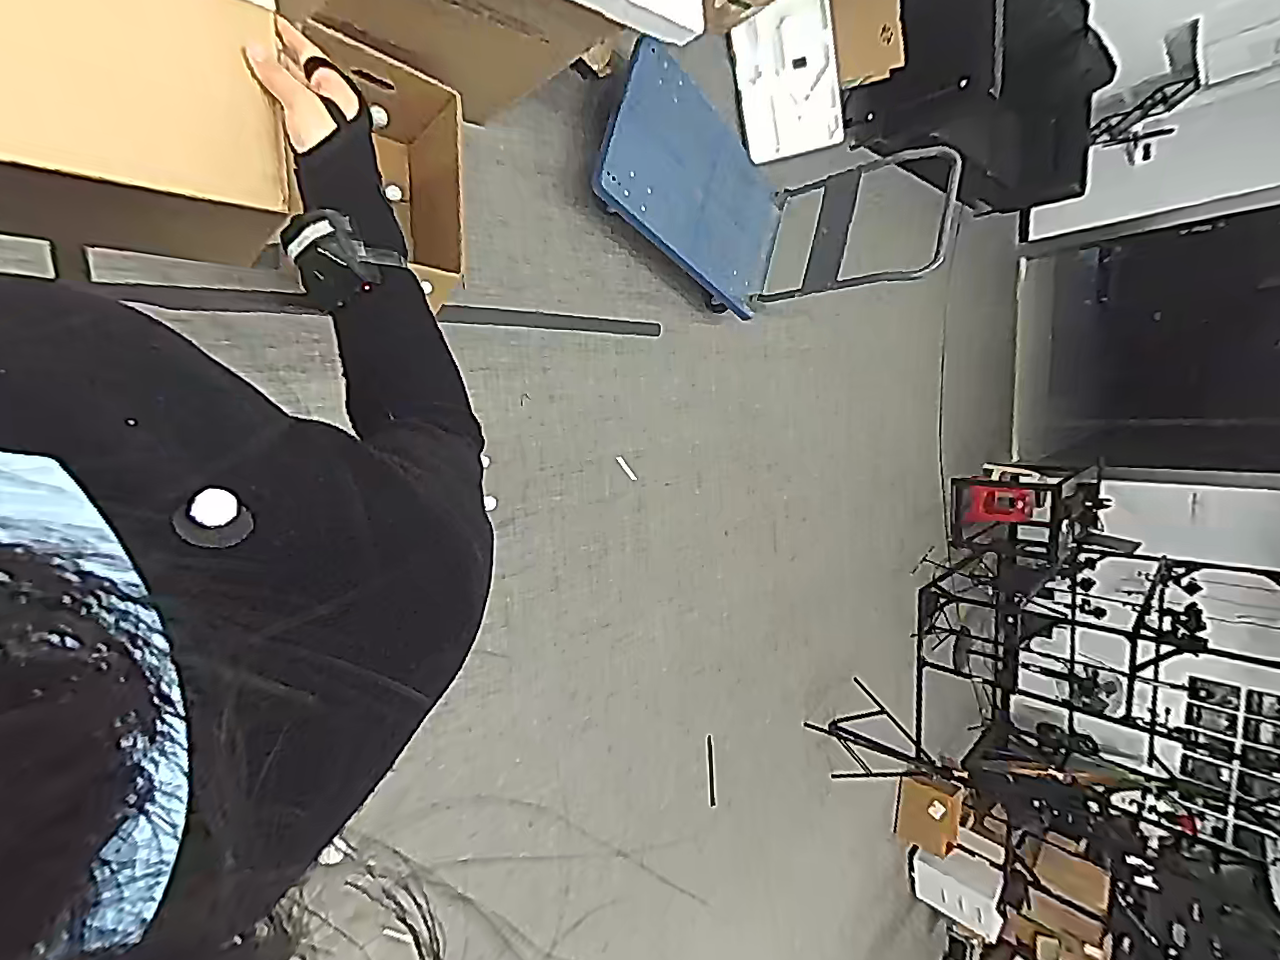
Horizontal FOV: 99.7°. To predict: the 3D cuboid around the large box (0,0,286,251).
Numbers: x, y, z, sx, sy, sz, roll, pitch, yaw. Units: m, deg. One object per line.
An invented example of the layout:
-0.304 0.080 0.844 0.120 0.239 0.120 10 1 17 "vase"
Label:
-0.545 -0.383 0.412 0.408 0.320 0.320 -8 103 -41 "large box"
